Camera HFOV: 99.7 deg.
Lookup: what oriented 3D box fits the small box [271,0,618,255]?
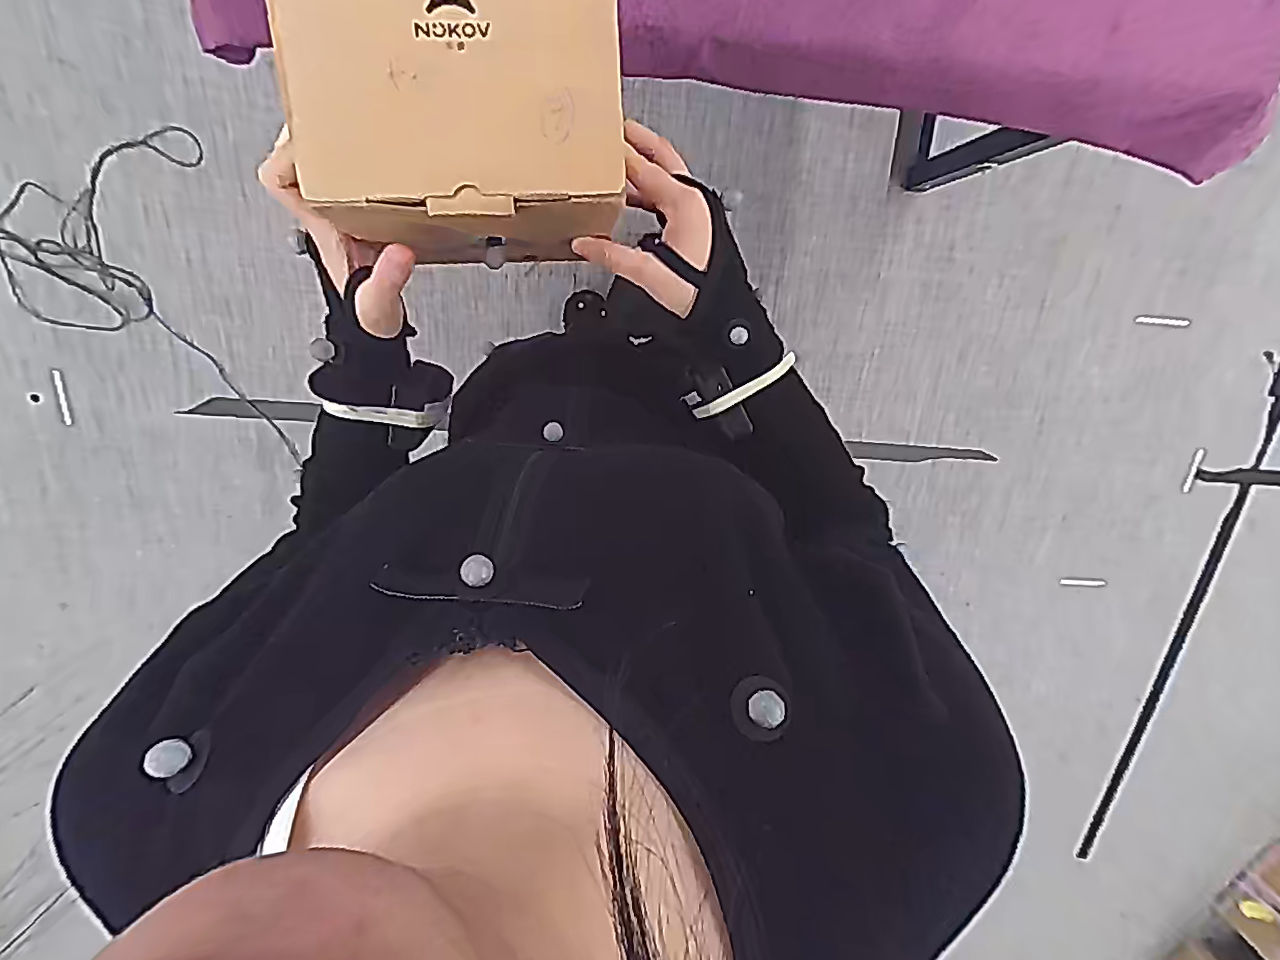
[{"bbox_3d":[-0.103,-0.246,0.343,0.168,0.176,0.179,-4,103,-7],"label":"small box"}]
